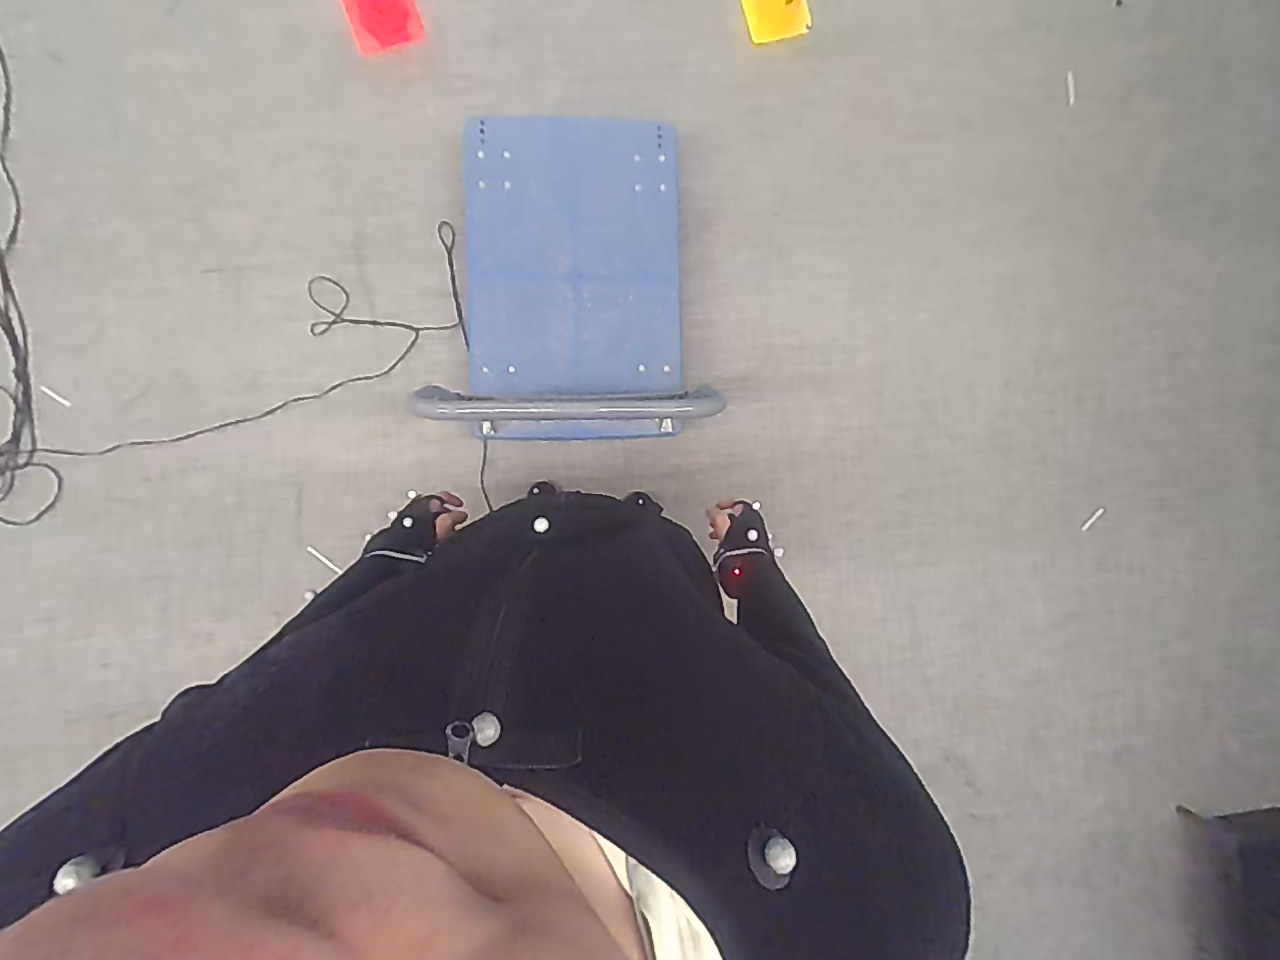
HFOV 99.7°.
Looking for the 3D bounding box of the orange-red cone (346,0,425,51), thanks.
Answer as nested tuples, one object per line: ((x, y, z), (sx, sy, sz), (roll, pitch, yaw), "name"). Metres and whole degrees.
((-0.741, -1.377, 1.421), (0.199, 0.360, 0.198), (-19, 91, -2), "orange-red cone")
